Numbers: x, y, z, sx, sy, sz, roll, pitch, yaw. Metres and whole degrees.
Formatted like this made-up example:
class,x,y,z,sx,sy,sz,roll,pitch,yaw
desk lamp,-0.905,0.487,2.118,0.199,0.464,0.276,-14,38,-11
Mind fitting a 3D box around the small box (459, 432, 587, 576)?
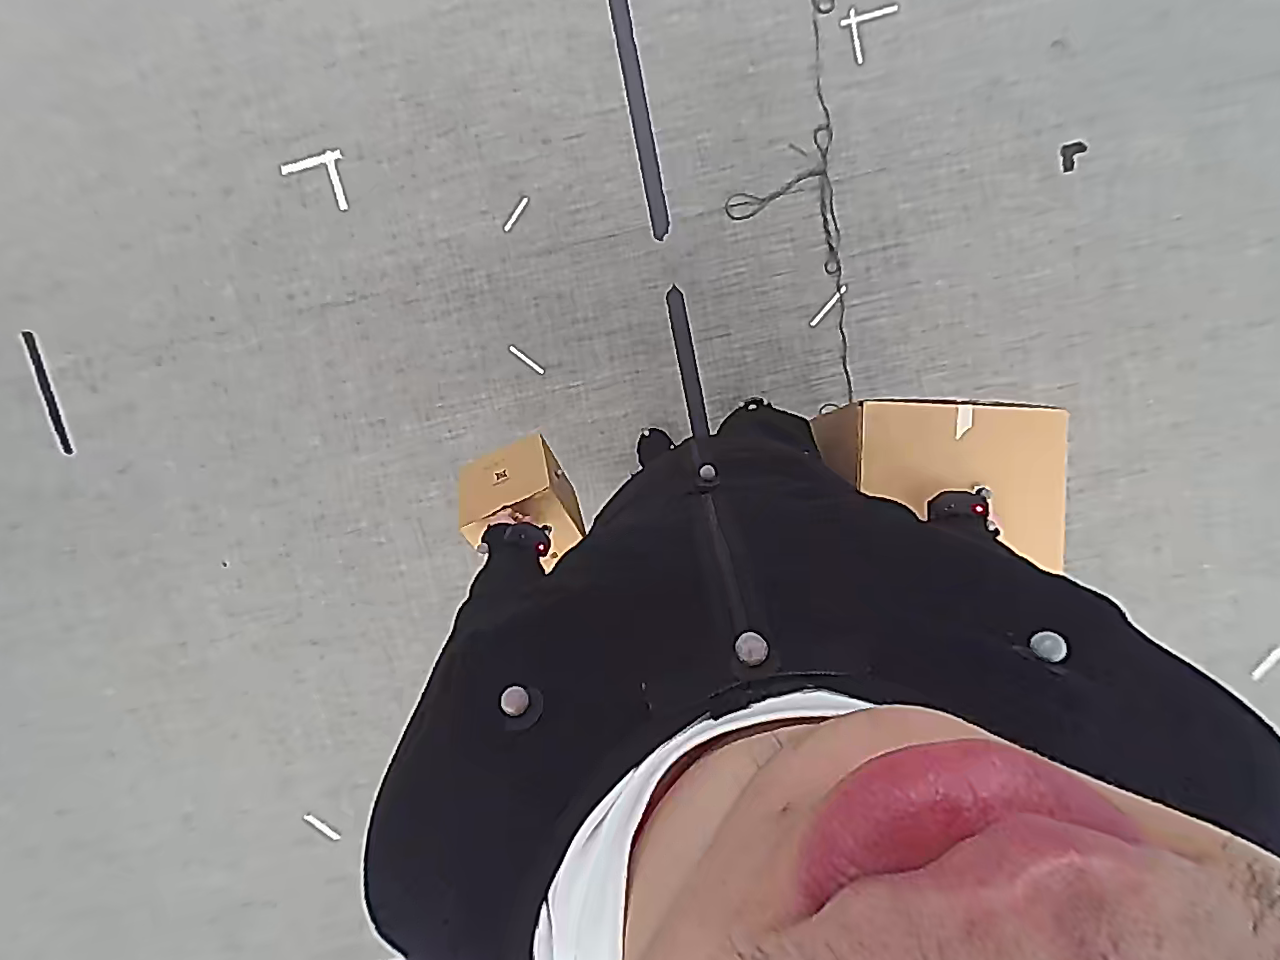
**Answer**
class,x,y,z,sx,sy,sz,roll,pitch,yaw
small box,-0.210,0.051,0.982,0.168,0.179,0.176,-24,130,1
